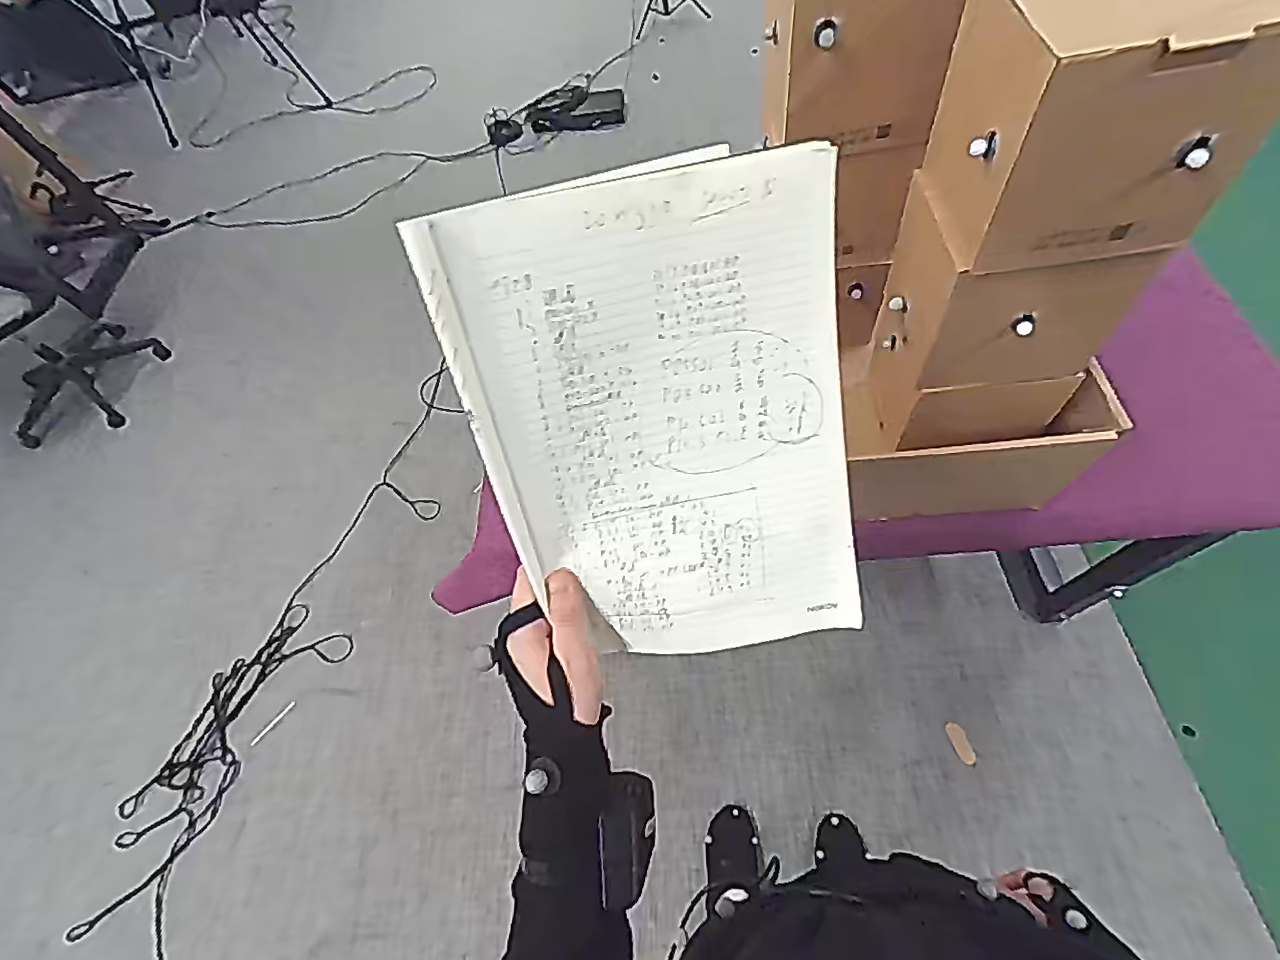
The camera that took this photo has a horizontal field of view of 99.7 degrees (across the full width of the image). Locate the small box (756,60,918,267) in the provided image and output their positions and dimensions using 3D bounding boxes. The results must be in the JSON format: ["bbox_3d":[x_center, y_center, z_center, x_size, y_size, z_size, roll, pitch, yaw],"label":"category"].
[{"bbox_3d":[0.244,-0.404,0.717,0.168,0.176,0.179,-4,61,8],"label":"small box"}]

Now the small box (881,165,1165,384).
[{"bbox_3d":[0.379,-0.224,0.580,0.179,0.176,0.168,-5,58,10],"label":"small box"}]

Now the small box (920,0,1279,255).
[{"bbox_3d":[0.352,-0.305,0.441,0.168,0.176,0.179,-4,58,9],"label":"small box"}]
